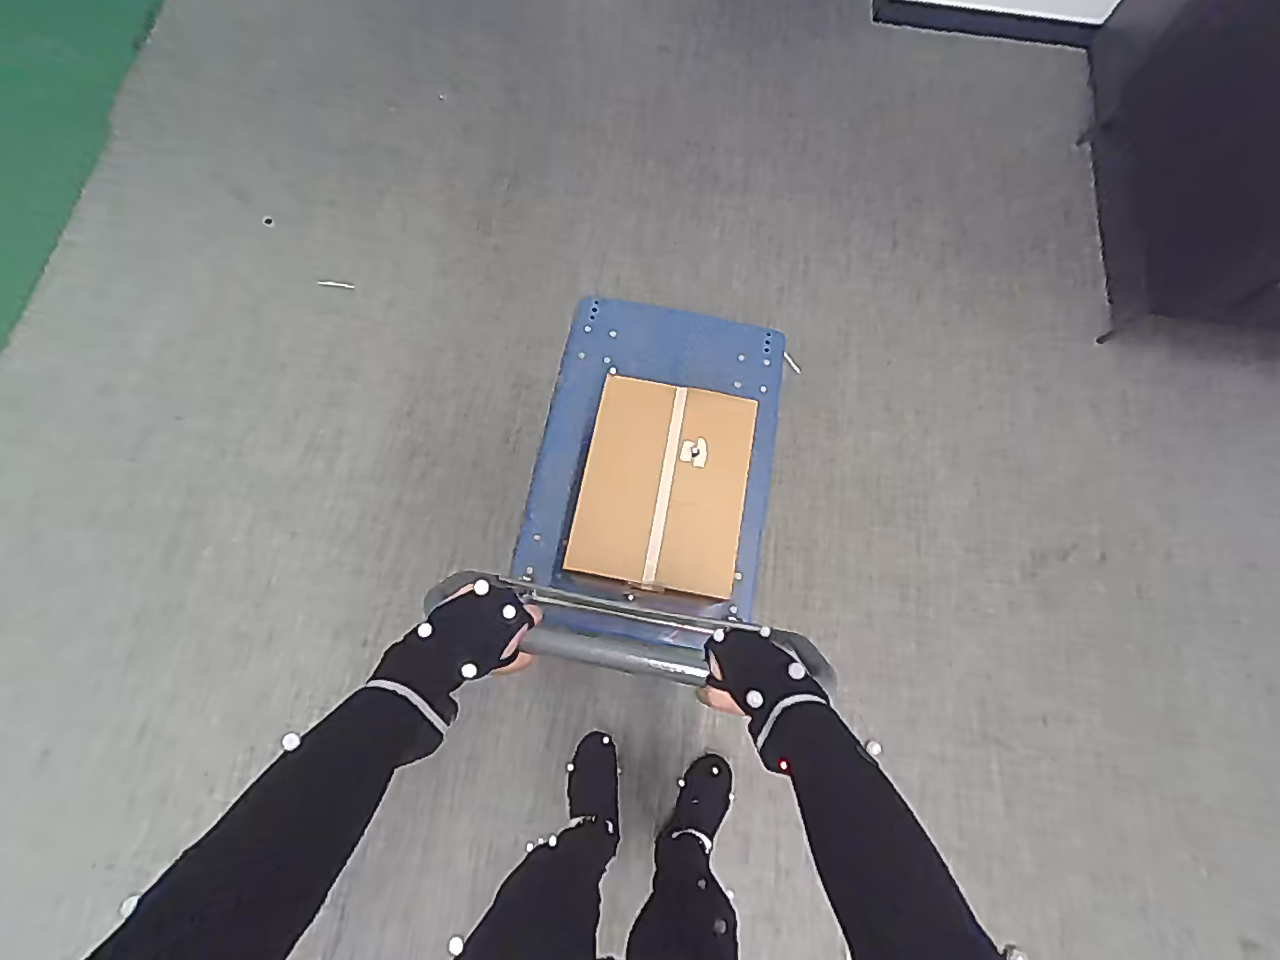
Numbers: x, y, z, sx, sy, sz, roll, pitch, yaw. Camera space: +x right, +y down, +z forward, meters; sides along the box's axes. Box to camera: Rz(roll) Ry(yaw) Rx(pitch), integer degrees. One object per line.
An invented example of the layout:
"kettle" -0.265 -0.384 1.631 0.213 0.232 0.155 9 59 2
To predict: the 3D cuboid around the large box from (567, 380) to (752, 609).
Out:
"large box" 0.041 0.051 1.187 0.320 0.320 0.408 11 73 0
